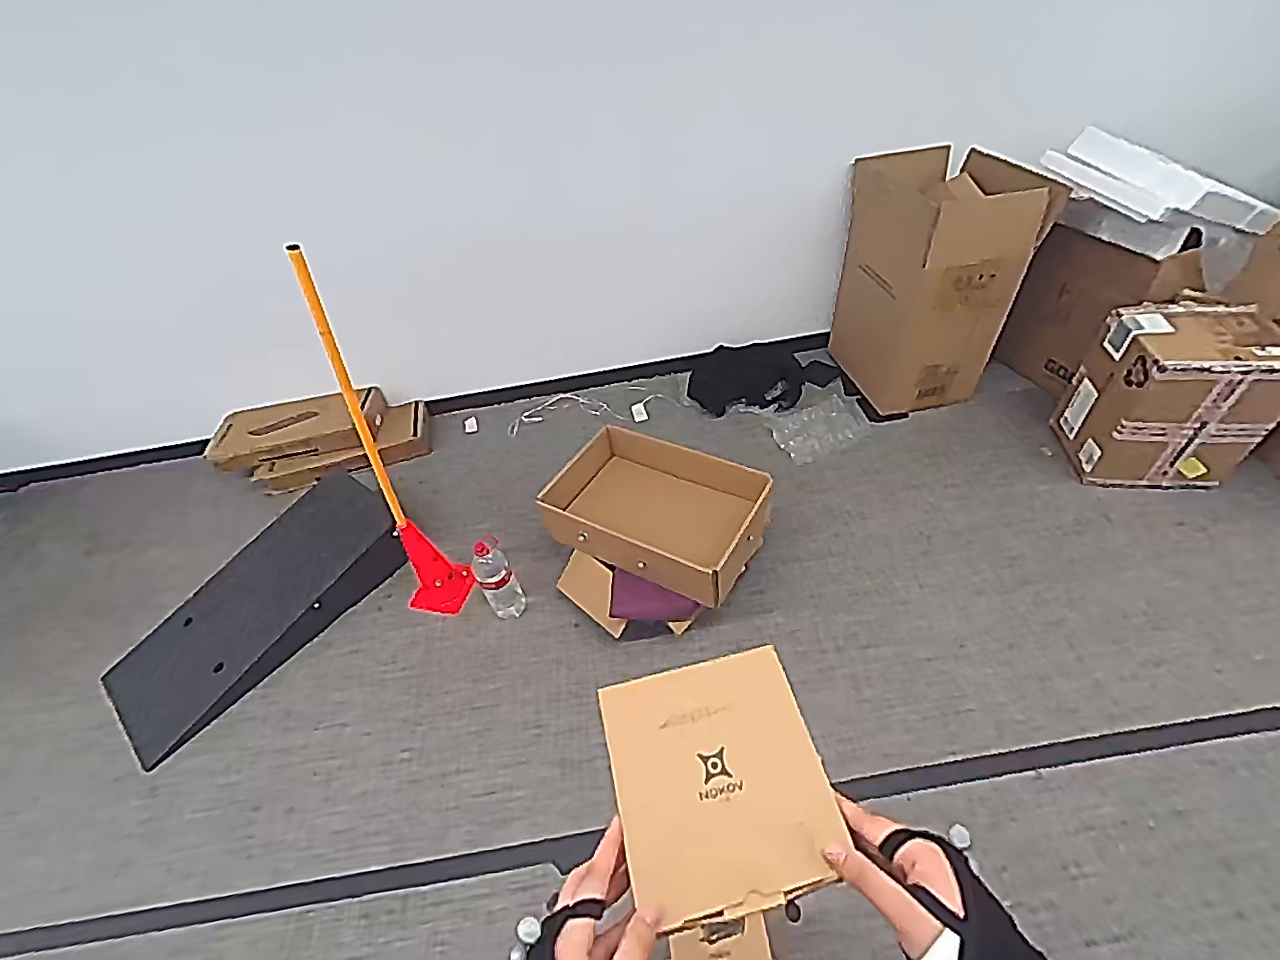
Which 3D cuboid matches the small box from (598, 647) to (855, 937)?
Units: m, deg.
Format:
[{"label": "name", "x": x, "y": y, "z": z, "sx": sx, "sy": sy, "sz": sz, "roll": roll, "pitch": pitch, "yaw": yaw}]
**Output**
[{"label": "small box", "x": 0.064, "y": 0.283, "z": 0.493, "sx": 0.168, "sy": 0.176, "sz": 0.179, "roll": -12, "pitch": 50, "yaw": -6}]
